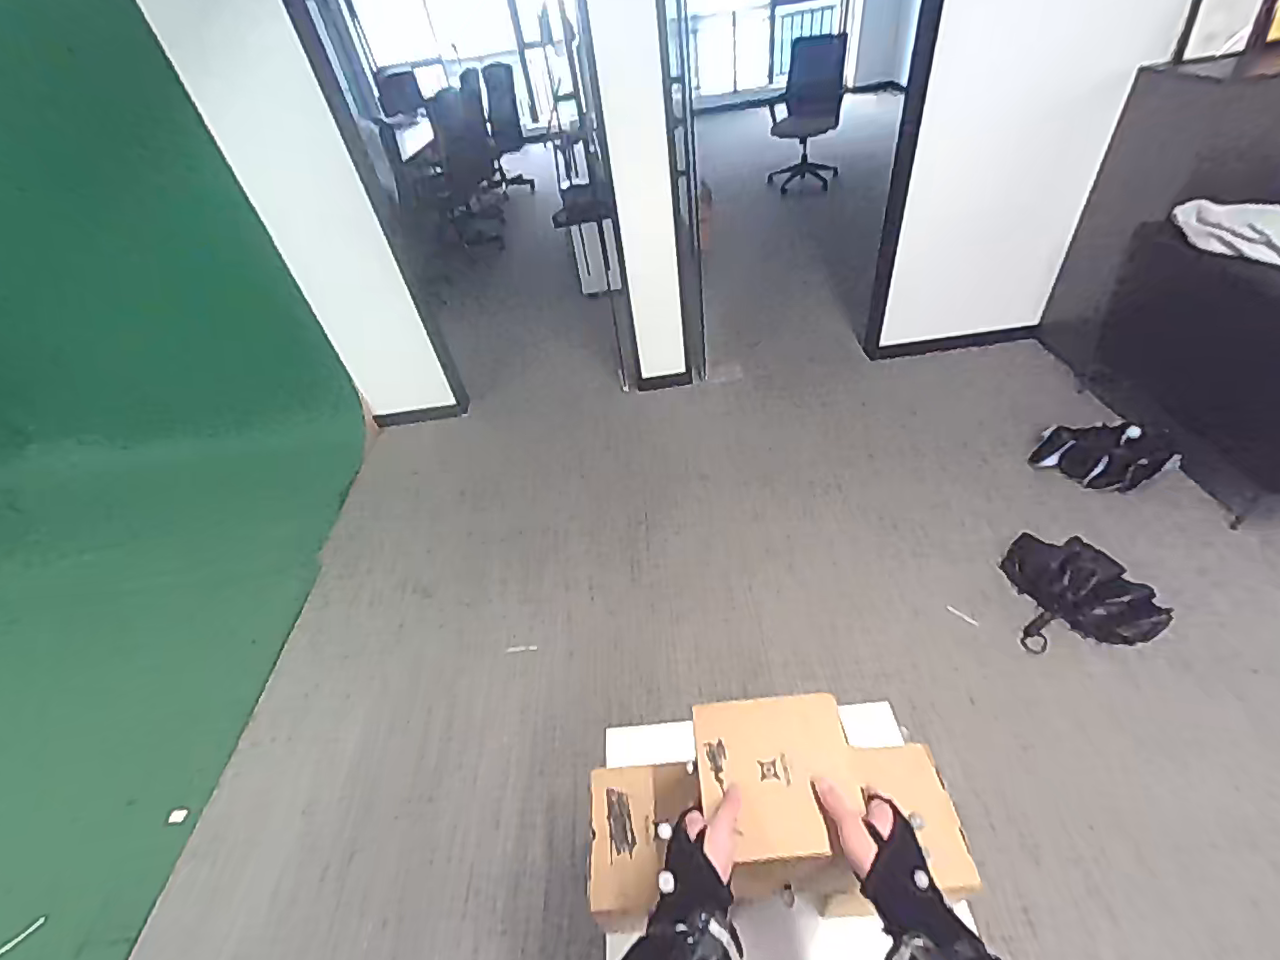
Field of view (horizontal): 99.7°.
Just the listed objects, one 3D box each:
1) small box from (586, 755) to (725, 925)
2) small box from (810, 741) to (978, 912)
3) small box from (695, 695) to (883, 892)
[{"bbox_3d":[0.023,0.510,0.765,0.179,0.176,0.168,-4,43,0],"label":"small box"},{"bbox_3d":[0.322,0.484,0.754,0.179,0.176,0.168,-6,43,4],"label":"small box"},{"bbox_3d":[0.161,0.378,0.651,0.179,0.176,0.168,-5,43,2],"label":"small box"}]
